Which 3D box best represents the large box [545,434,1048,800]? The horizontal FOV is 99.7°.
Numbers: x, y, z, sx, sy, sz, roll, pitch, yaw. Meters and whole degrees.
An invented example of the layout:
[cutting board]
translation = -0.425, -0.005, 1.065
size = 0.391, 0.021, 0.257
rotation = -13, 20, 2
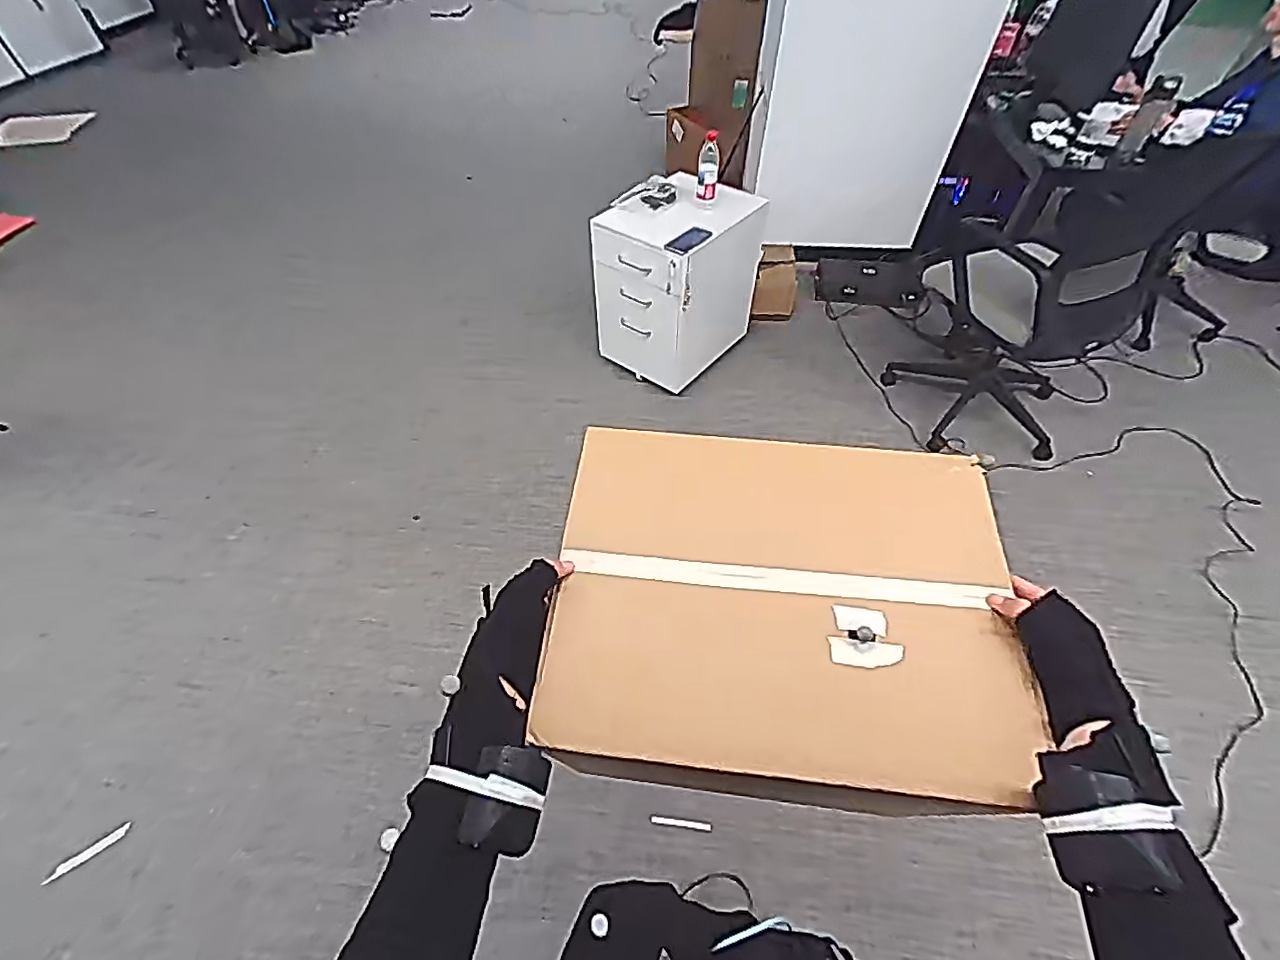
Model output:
[large box]
translation = 0.132, 0.171, 0.629
size = 0.408, 0.320, 0.320
rotation = 5, 59, 4
